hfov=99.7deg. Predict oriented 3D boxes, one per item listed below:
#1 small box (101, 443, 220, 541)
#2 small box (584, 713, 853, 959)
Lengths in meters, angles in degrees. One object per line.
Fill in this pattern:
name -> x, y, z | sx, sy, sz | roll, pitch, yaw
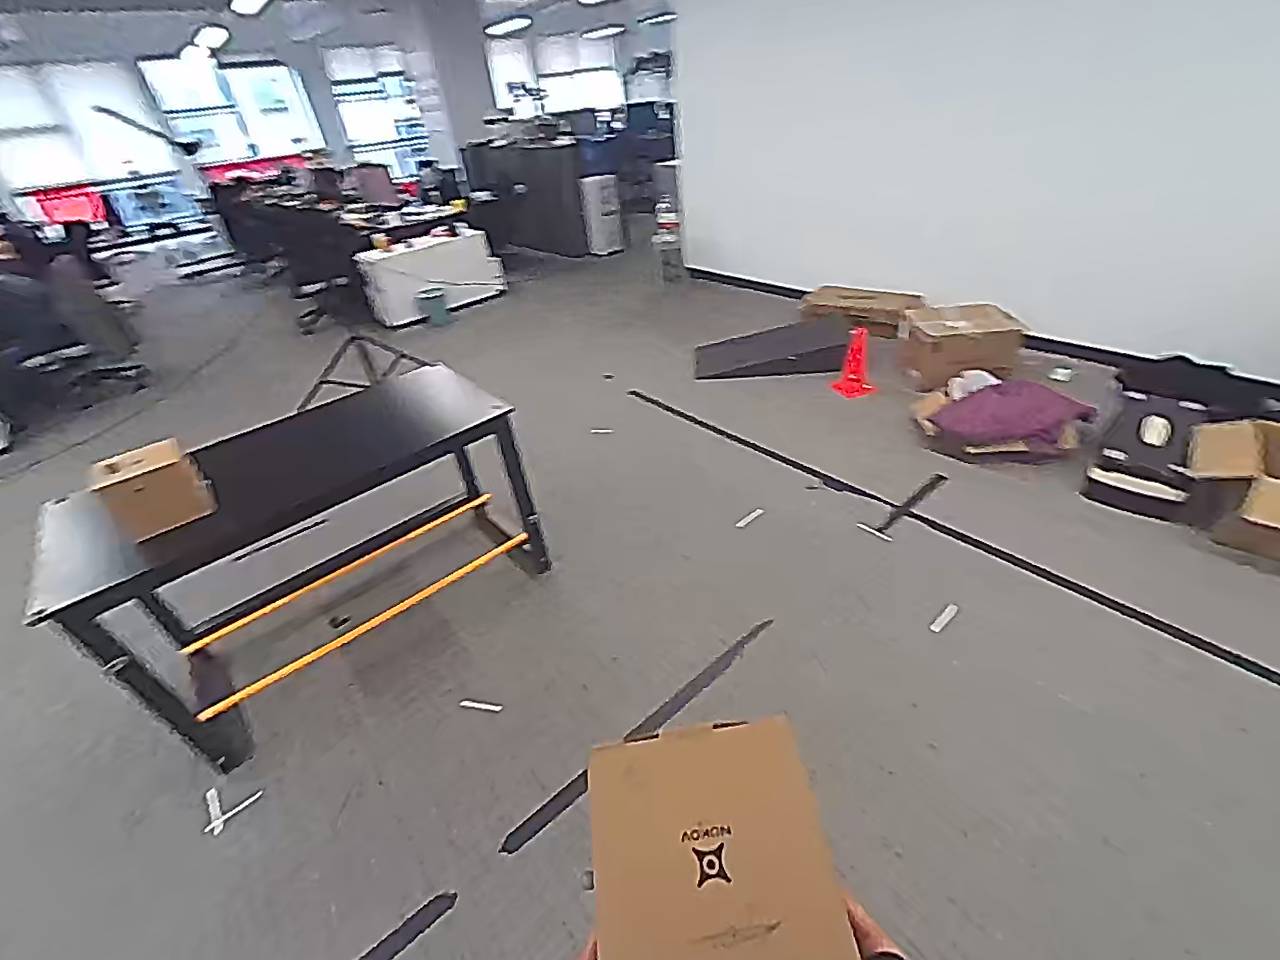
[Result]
small box -> -1.251, 0.032, 1.417 | 0.179, 0.176, 0.168 | -29, 41, -29
small box -> 0.049, 0.319, 0.439 | 0.168, 0.176, 0.179 | -9, 46, -3
